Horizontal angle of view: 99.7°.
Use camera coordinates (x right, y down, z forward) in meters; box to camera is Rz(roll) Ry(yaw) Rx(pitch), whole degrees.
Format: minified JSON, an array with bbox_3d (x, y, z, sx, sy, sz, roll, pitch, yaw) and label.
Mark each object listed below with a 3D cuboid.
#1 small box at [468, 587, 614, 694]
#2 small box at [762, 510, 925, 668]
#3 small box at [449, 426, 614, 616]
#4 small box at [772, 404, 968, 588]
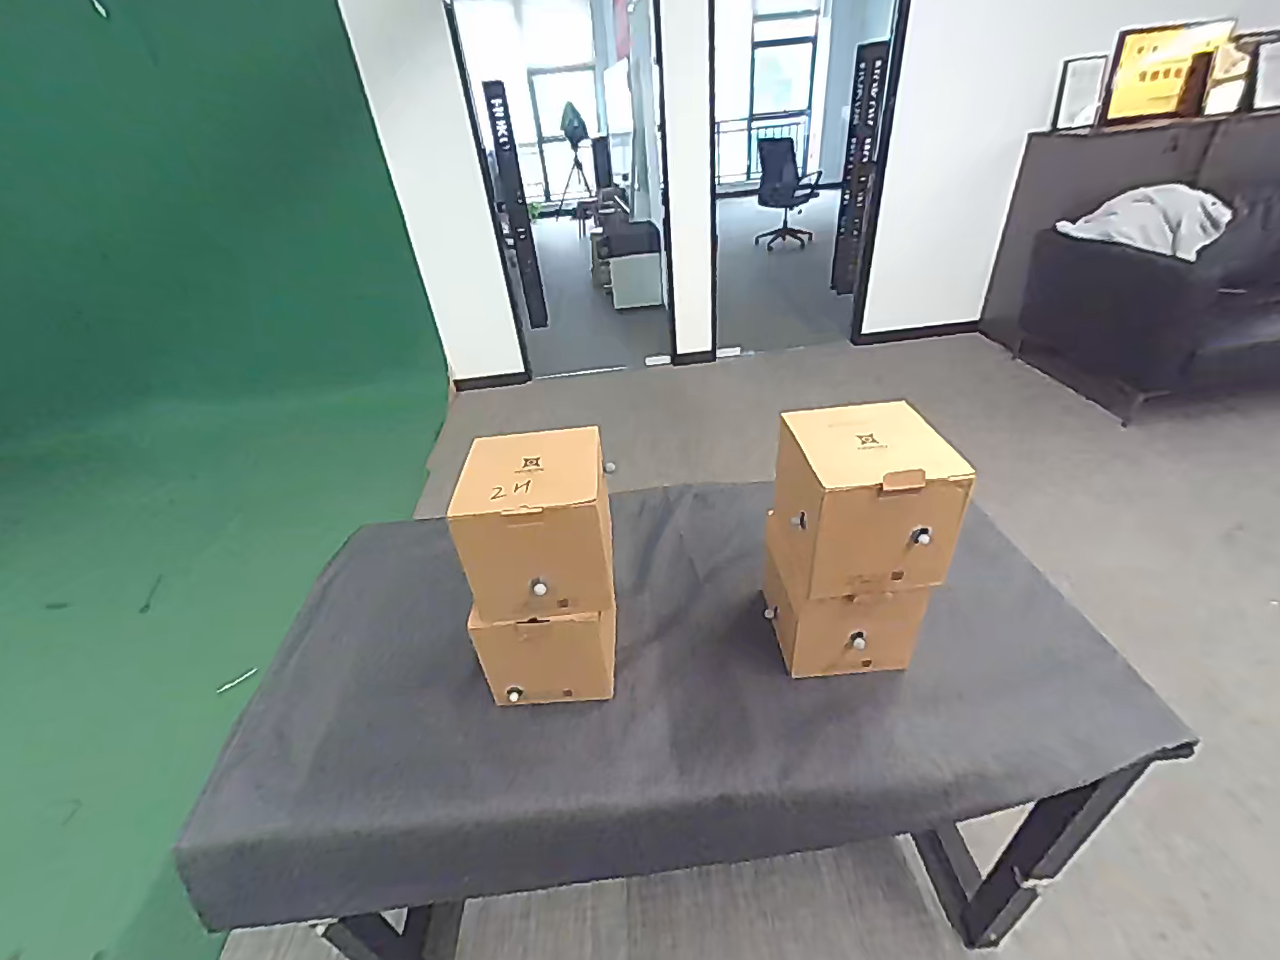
[{"bbox_3d":[-0.128,0.191,0.783,0.168,0.176,0.179,-4,33,2],"label":"small box"},{"bbox_3d":[0.277,0.154,0.780,0.168,0.176,0.179,-5,35,1],"label":"small box"},{"bbox_3d":[-0.125,0.049,0.698,0.168,0.176,0.179,-6,34,0],"label":"small box"},{"bbox_3d":[0.271,0.022,0.684,0.168,0.176,0.179,-5,33,0],"label":"small box"}]
